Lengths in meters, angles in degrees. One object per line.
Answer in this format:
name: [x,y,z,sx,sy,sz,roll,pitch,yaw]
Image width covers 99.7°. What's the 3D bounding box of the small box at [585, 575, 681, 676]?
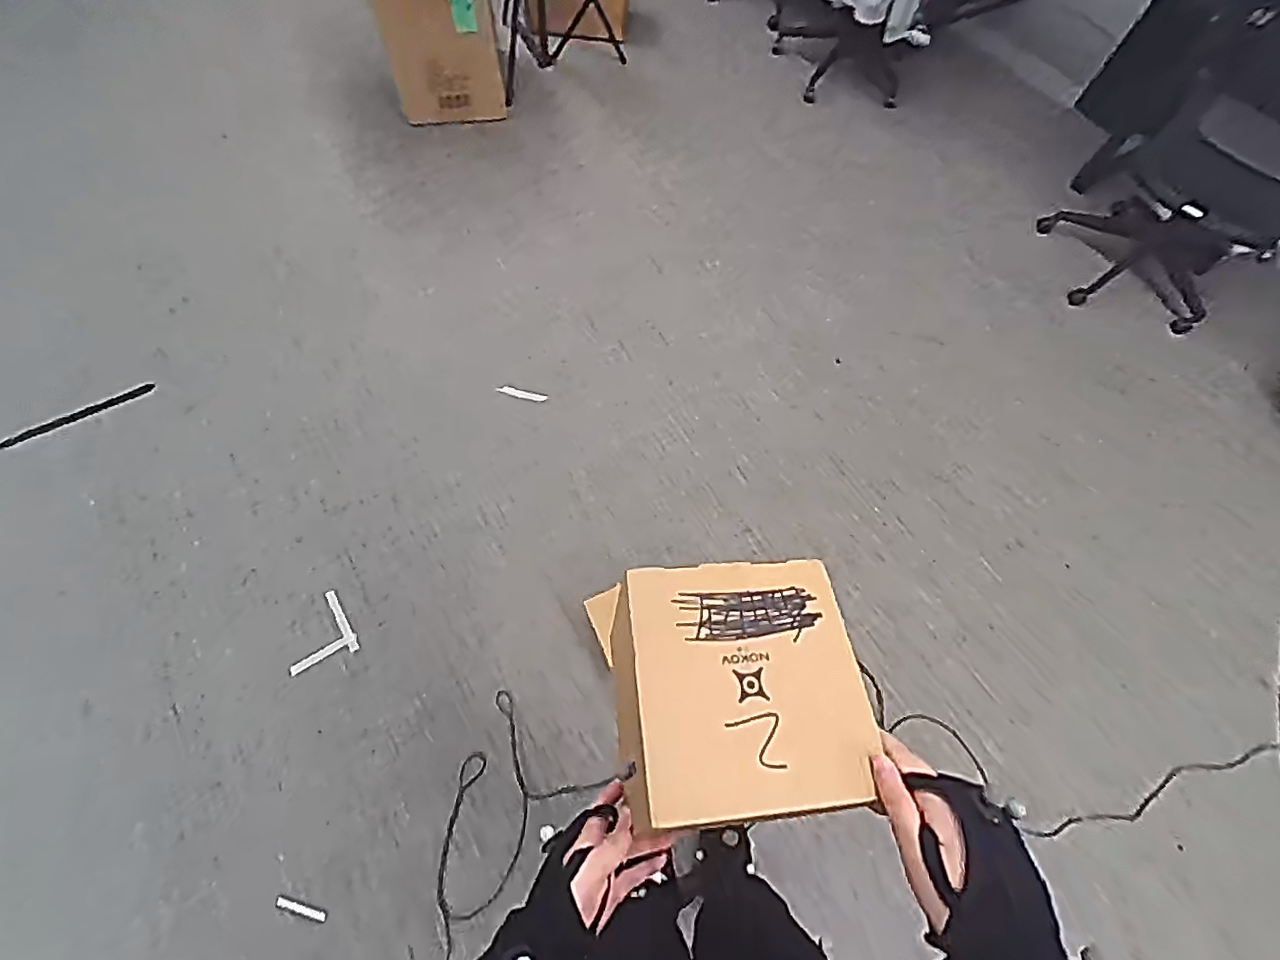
small box: [-0.020,0.357,1.310,0.179,0.176,0.168,-22,68,-13]
